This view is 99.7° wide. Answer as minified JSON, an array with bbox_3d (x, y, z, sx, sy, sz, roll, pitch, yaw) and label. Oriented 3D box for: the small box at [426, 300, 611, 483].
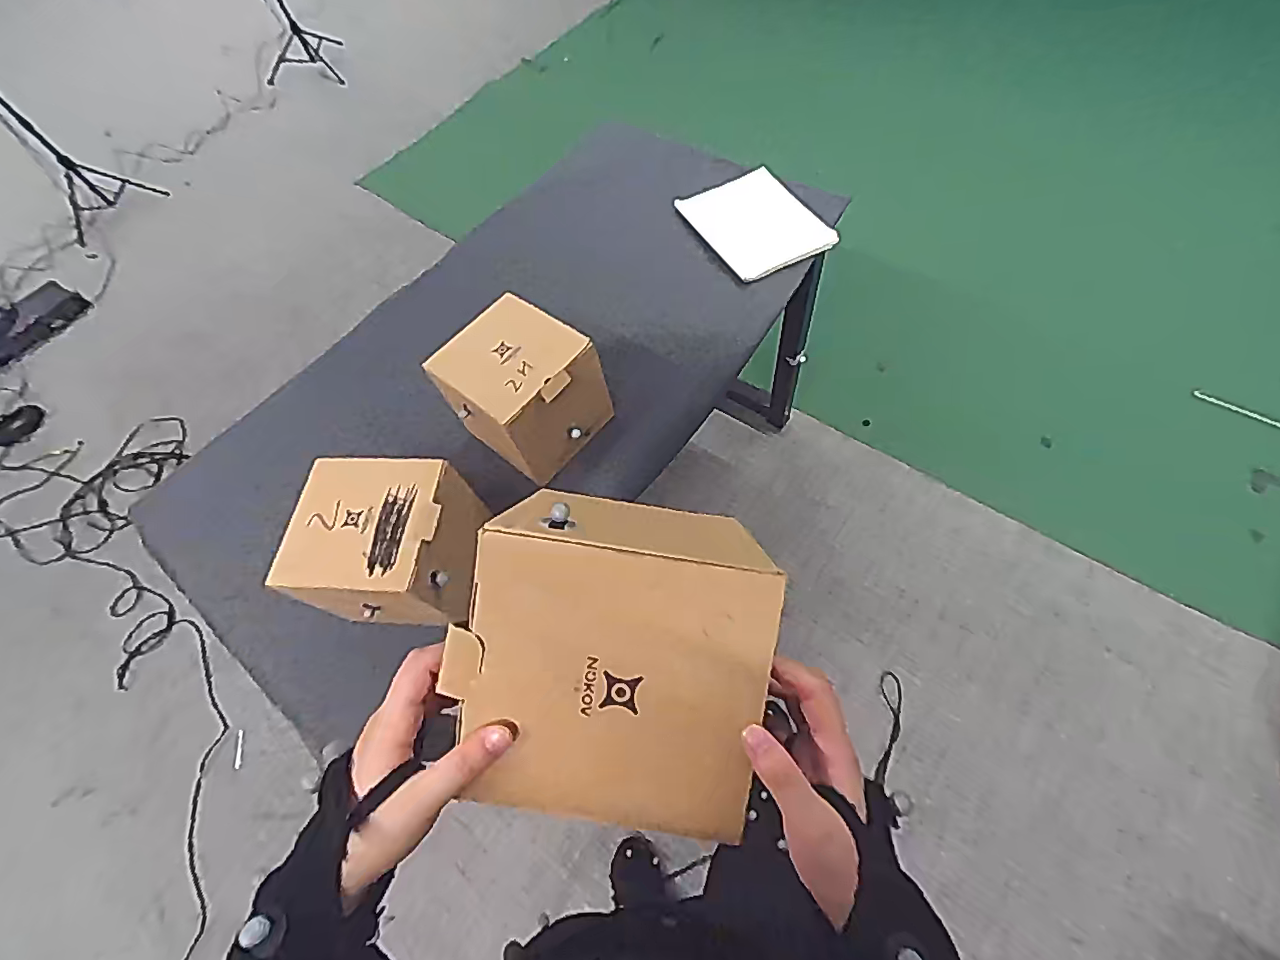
[{"bbox_3d":[-0.168,-0.124,0.796,0.179,0.176,0.168,34,72,23],"label":"small box"}]
